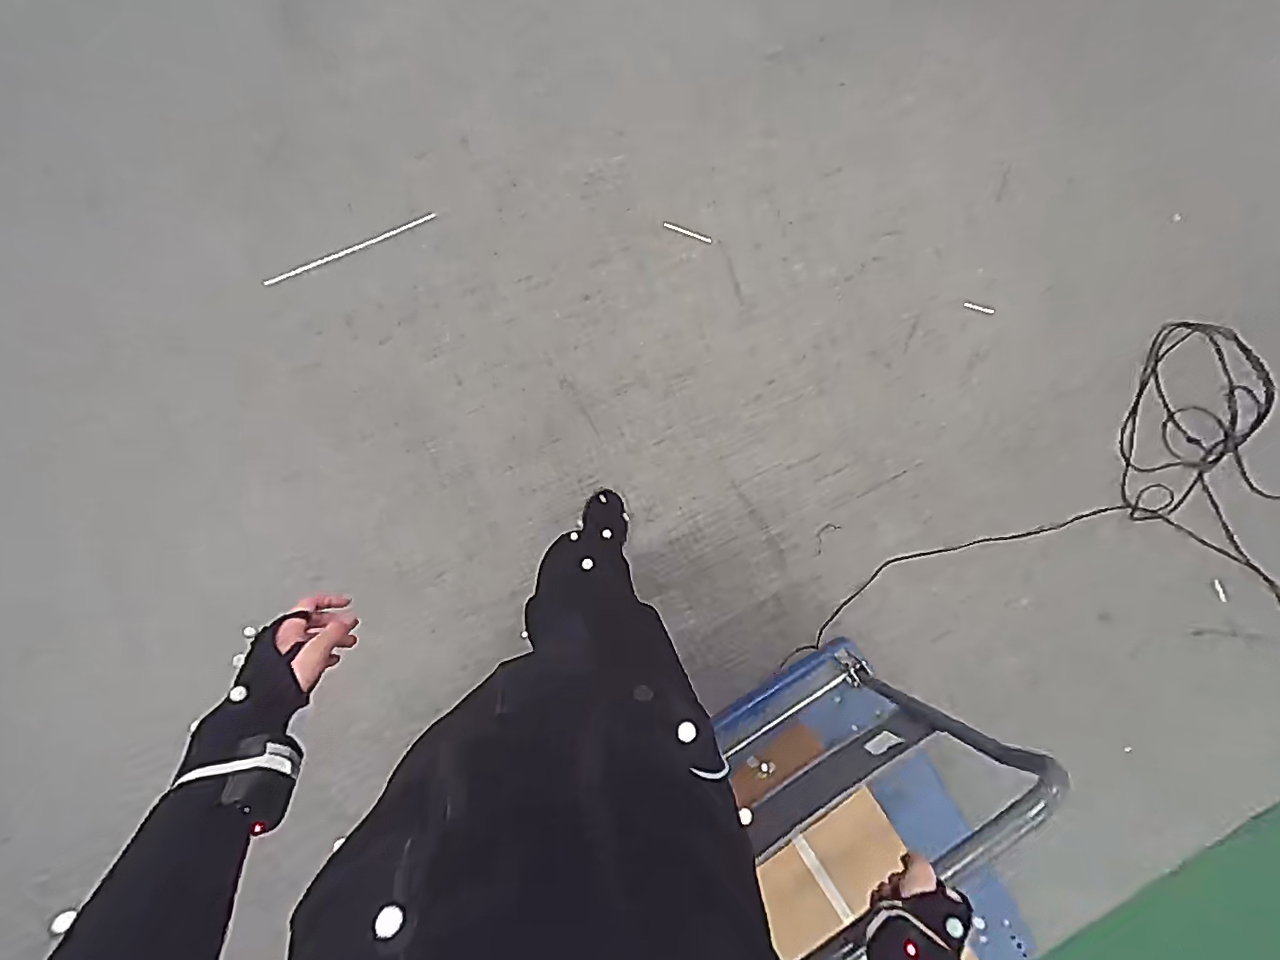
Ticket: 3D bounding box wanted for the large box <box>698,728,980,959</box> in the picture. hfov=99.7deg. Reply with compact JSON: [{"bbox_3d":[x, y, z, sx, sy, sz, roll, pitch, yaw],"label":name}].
[{"bbox_3d":[0.374,0.810,1.104,0.320,0.320,0.408,-32,89,-6],"label":"large box"}]
